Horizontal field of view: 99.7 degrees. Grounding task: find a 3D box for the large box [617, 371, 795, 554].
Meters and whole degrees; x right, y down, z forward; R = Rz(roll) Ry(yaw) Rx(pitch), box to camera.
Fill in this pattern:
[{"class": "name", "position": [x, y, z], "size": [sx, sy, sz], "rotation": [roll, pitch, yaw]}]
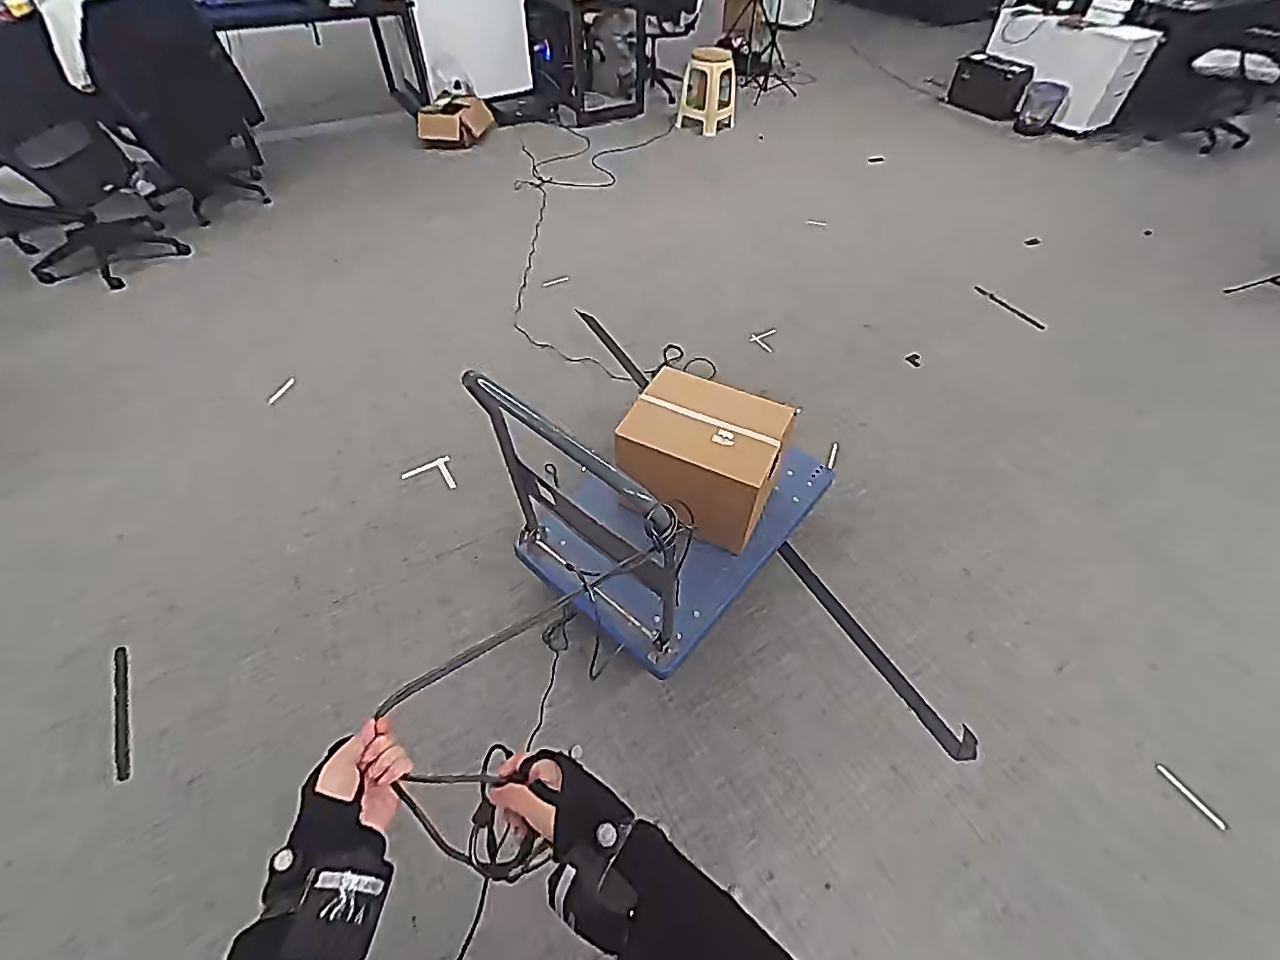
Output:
[{"class": "large box", "position": [0.175, -0.052, 1.552], "size": [0.408, 0.320, 0.320], "rotation": [22, 54, 16]}]
